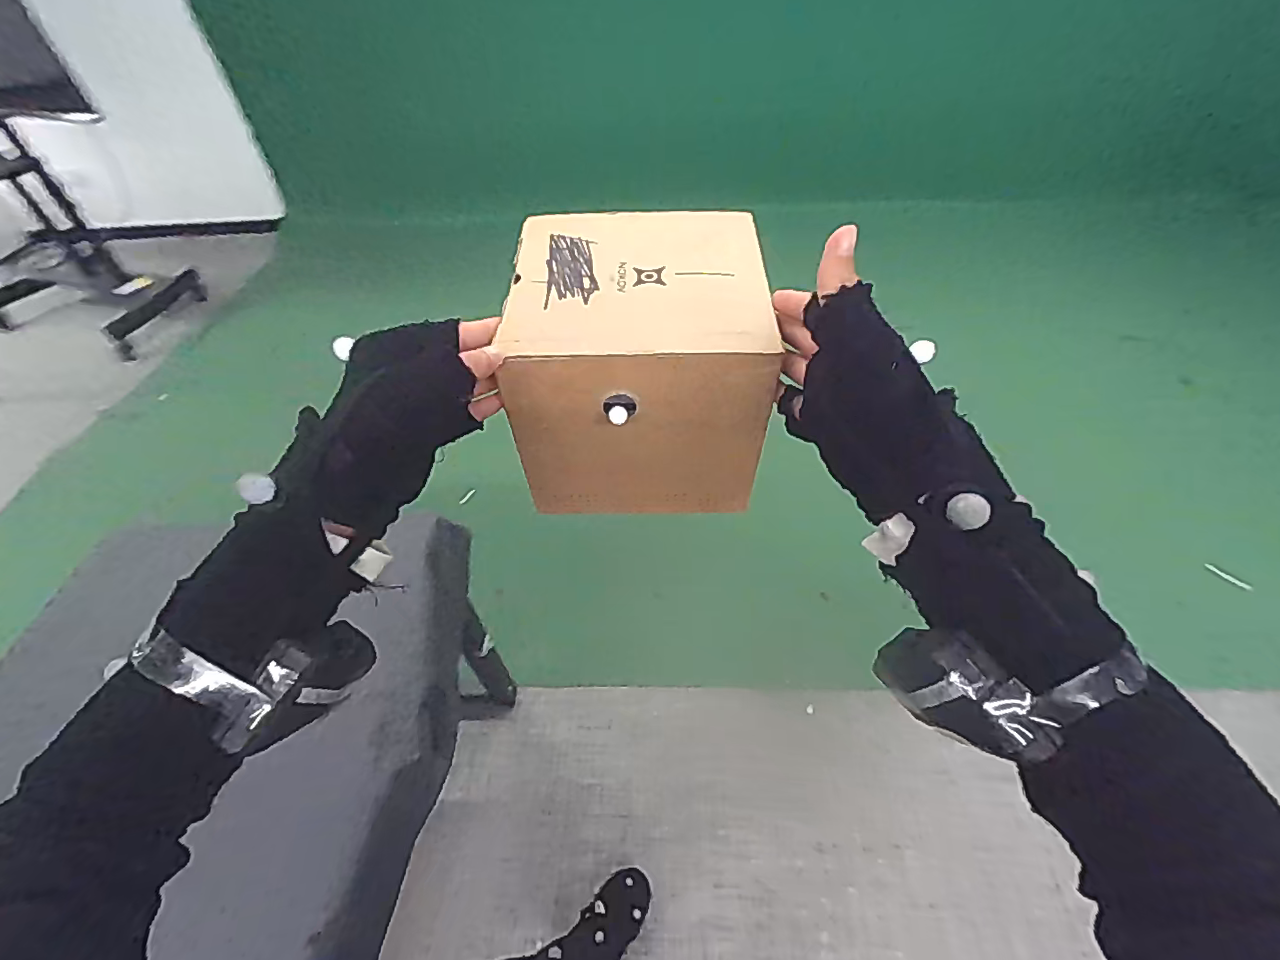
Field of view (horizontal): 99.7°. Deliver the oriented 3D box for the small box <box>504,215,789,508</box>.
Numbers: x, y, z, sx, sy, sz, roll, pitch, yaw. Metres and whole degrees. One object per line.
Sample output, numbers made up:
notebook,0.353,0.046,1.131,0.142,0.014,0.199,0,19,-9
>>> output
small box,0.008,-0.089,0.435,0.179,0.176,0.168,1,53,1
